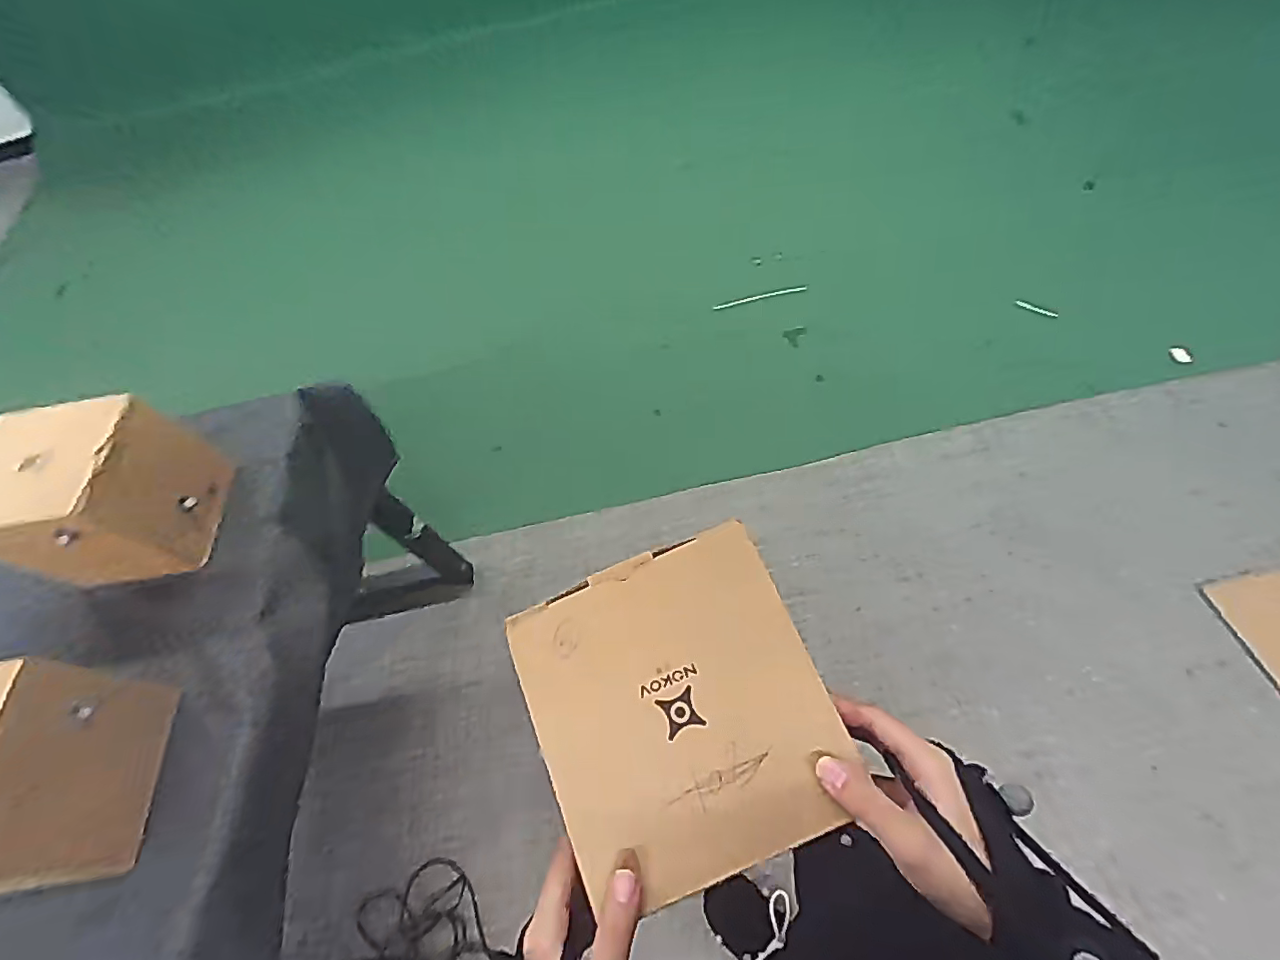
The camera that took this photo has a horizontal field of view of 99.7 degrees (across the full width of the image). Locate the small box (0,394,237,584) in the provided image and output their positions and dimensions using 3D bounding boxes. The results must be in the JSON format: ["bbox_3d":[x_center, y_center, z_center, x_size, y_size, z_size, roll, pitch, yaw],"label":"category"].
[{"bbox_3d":[-0.669,0.020,0.679,0.179,0.176,0.168,-9,60,3],"label":"small box"}]

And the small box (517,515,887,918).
[{"bbox_3d":[0.034,0.151,0.387,0.168,0.176,0.179,-22,71,-1],"label":"small box"}]
